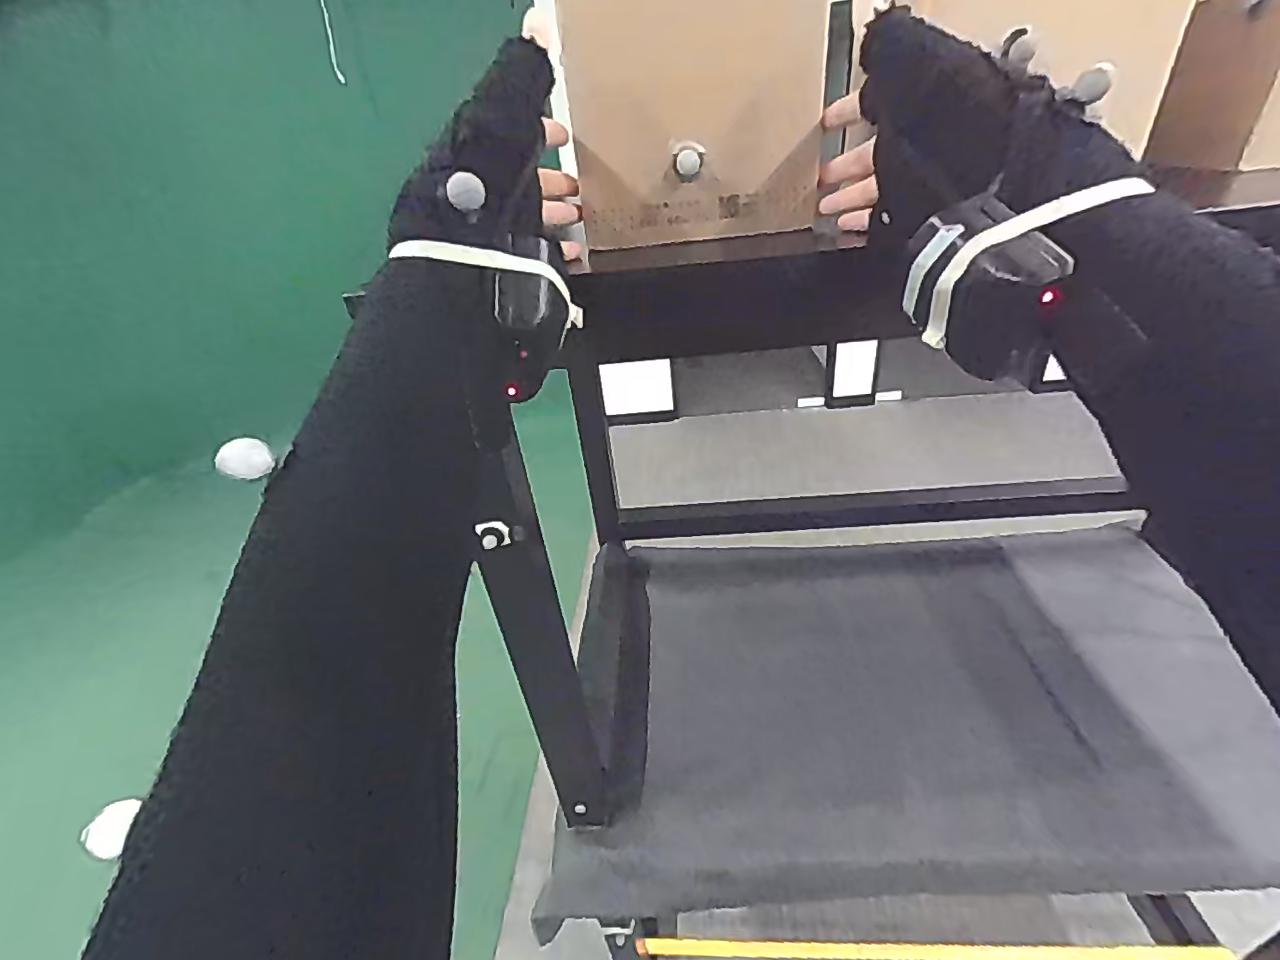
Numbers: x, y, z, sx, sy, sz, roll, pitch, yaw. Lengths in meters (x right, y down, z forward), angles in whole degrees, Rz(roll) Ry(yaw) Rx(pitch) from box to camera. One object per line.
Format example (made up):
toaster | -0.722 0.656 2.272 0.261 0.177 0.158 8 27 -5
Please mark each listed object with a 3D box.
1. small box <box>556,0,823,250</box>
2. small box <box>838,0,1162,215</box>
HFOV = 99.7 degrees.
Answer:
small box | 0.036 -0.287 0.428 0.168 0.176 0.179 -4 32 4
small box | 0.271 -0.320 0.441 0.168 0.176 0.179 -3 32 5
